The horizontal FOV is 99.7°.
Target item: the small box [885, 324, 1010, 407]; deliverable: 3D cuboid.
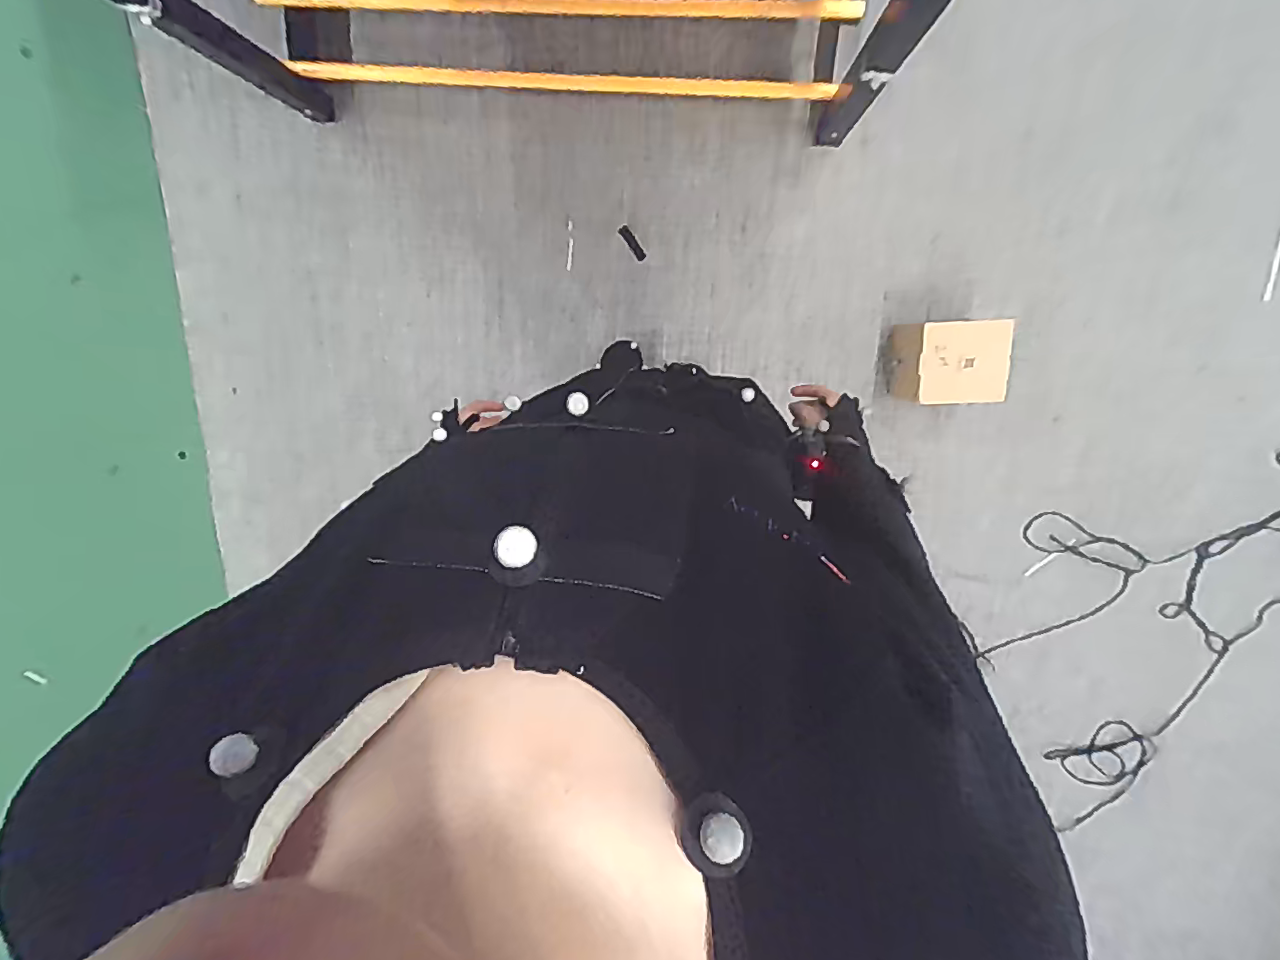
[{"bbox_3d":[0.658,-0.252,1.174,0.179,0.176,0.168,-1,103,5],"label":"small box"}]
